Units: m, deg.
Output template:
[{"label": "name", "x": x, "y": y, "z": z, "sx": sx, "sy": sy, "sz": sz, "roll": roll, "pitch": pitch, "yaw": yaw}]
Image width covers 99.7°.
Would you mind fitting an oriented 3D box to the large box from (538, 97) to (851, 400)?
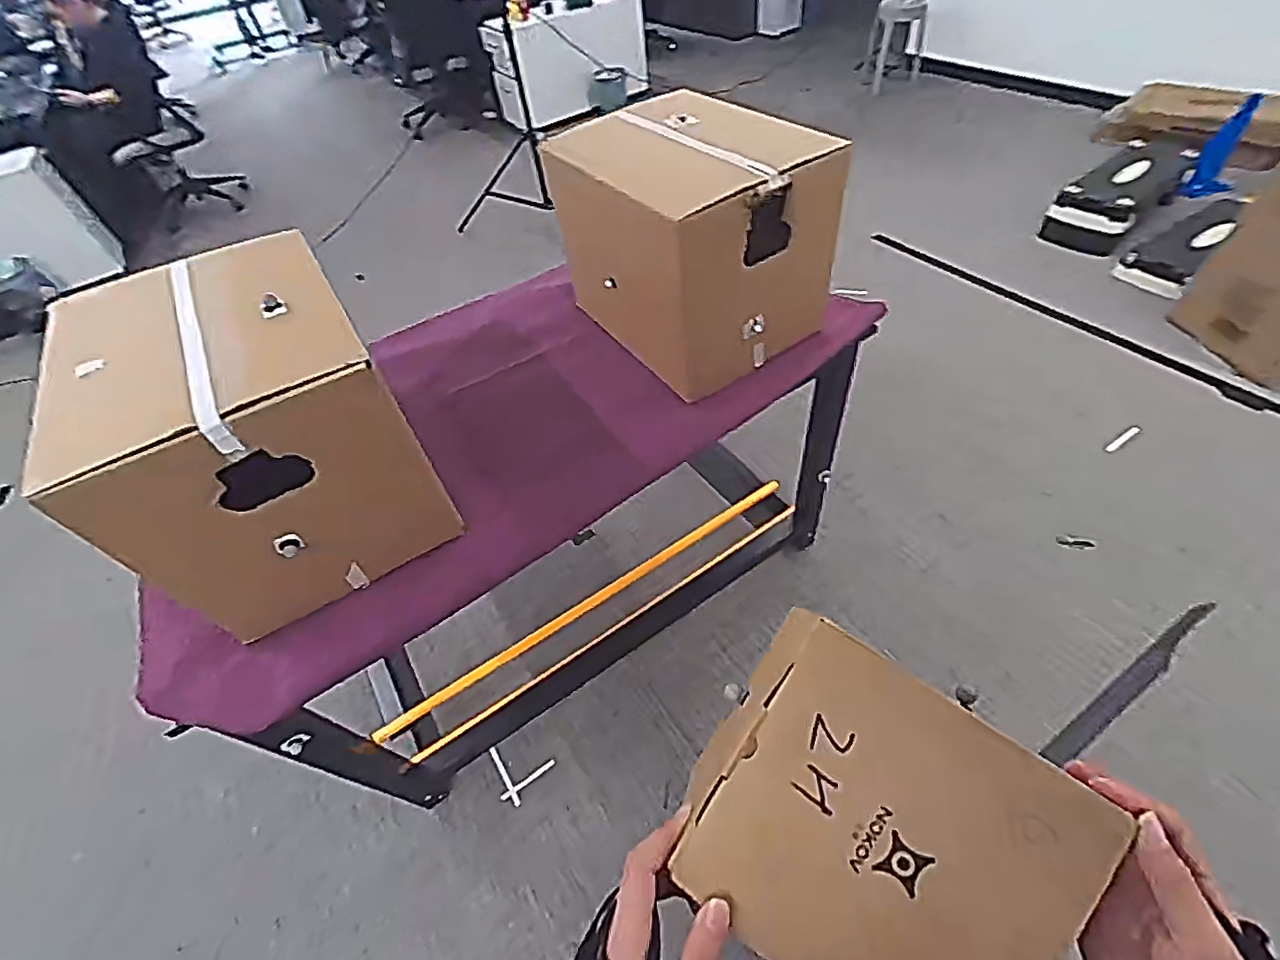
[{"label": "large box", "x": 0.084, "y": -0.408, "z": 0.936, "sx": 0.320, "sy": 0.320, "sz": 0.408, "roll": -30, "pitch": 52, "yaw": -17}]
